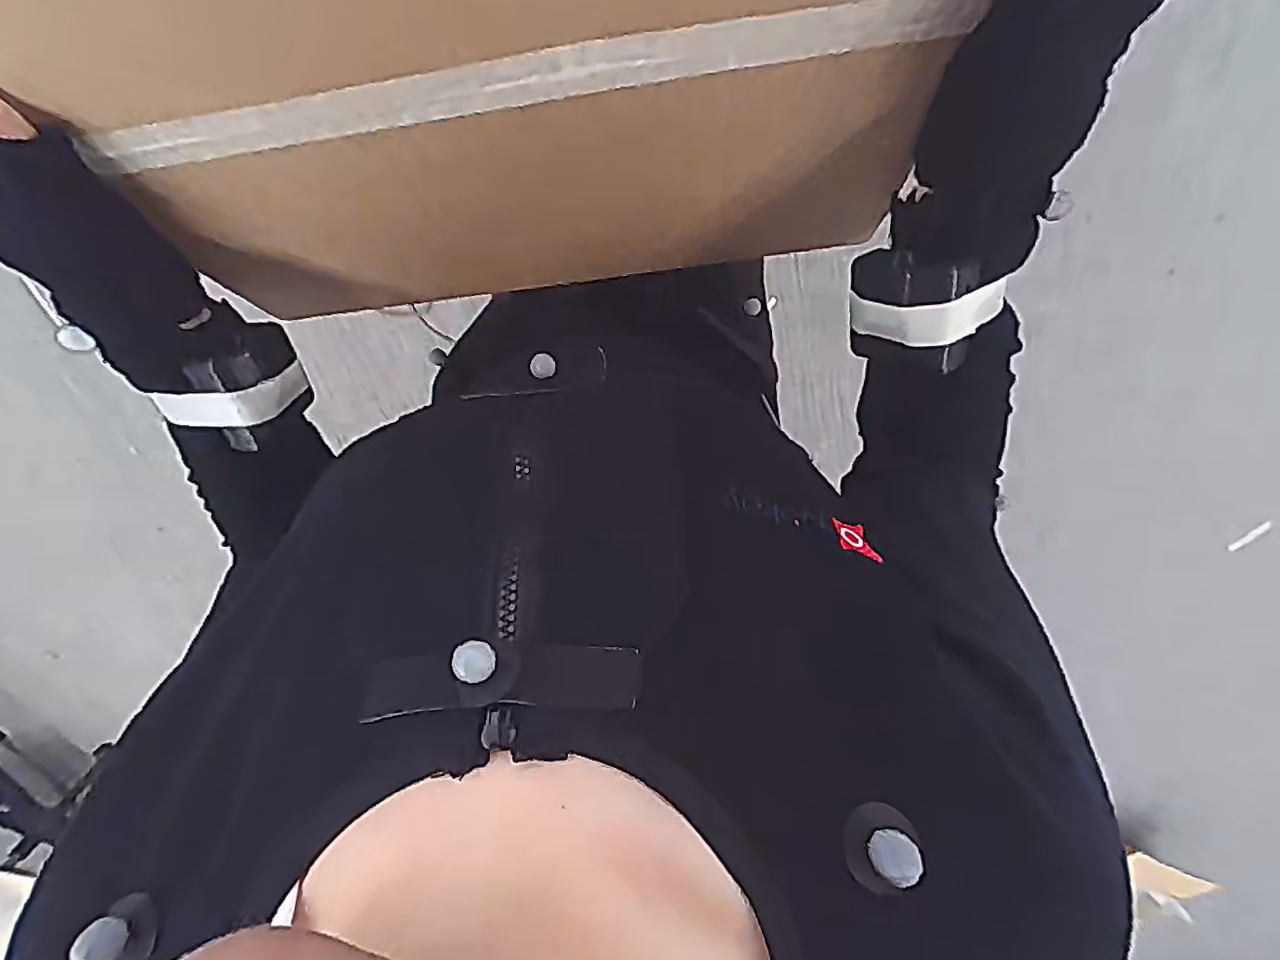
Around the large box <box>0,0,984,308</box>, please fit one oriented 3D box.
[{"bbox_3d":[-0.077,-0.315,0.245,0.408,0.320,0.320,-6,81,4],"label":"large box"}]
